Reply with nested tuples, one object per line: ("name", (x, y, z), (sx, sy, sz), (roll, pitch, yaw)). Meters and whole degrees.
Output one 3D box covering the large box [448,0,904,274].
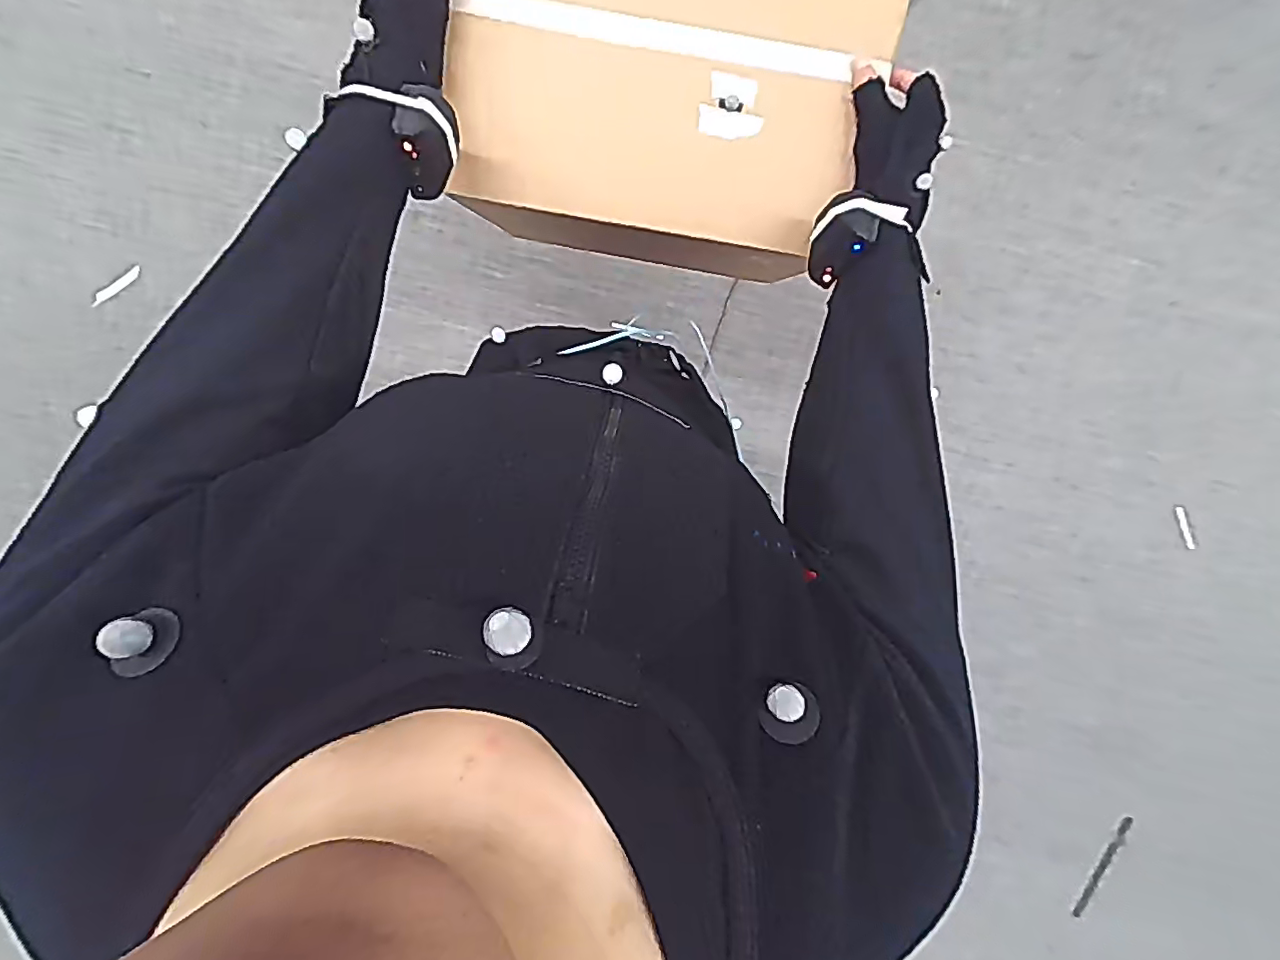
("large box", (0.030, -0.445, 0.634), (0.408, 0.320, 0.320), (10, 107, -2))
